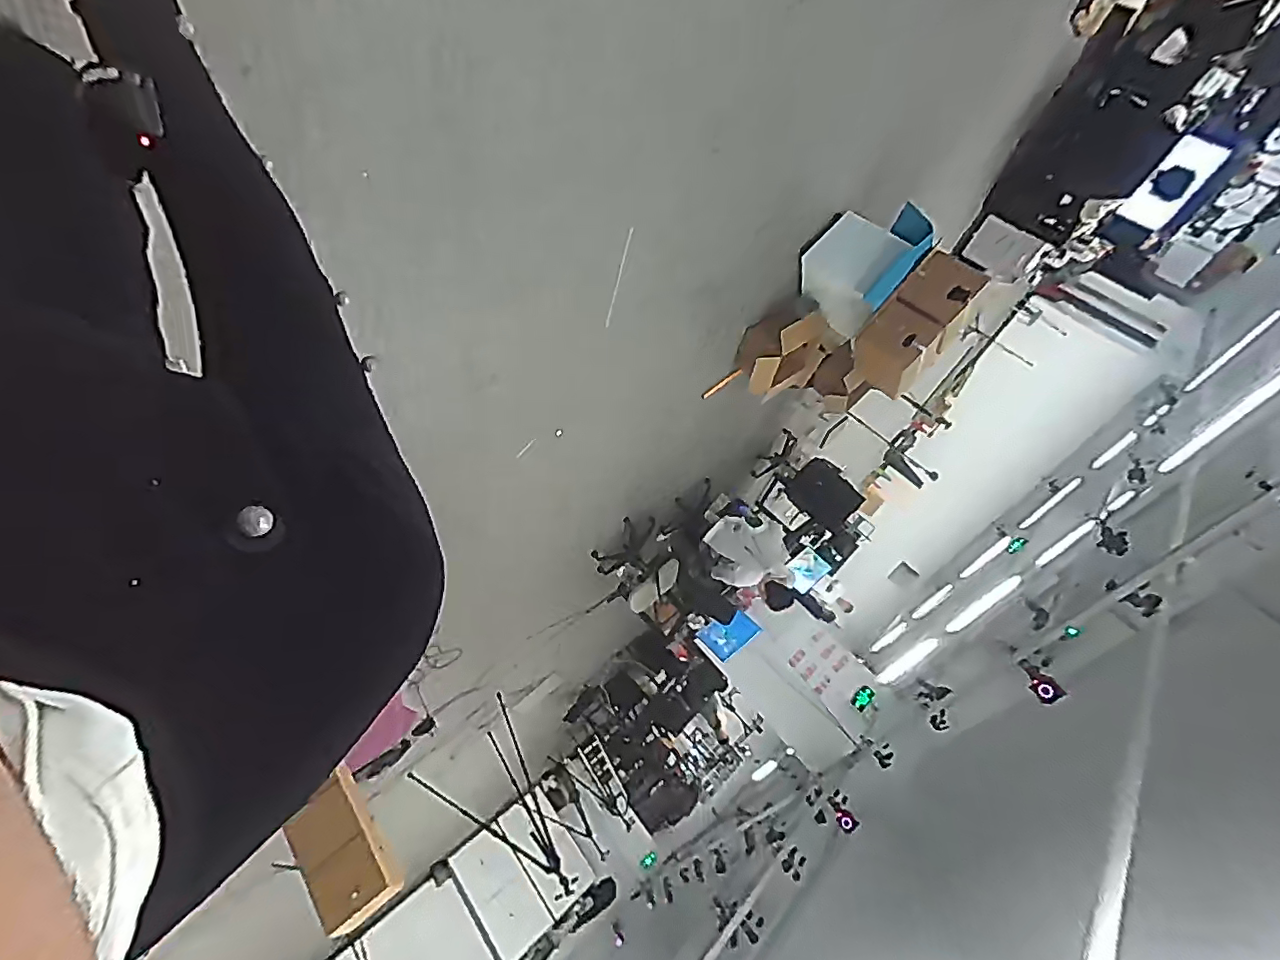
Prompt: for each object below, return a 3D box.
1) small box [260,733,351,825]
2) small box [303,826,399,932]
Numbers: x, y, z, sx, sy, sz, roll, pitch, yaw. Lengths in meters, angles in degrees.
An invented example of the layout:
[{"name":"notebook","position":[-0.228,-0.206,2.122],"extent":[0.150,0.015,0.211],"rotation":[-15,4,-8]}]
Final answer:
[{"name":"small box","position":[-1.041,0.926,1.676],"extent":[0.179,0.176,0.168],"rotation":[-33,155,-28]},{"name":"small box","position":[-0.828,1.136,1.545],"extent":[0.179,0.176,0.168],"rotation":[-34,154,-26]}]
